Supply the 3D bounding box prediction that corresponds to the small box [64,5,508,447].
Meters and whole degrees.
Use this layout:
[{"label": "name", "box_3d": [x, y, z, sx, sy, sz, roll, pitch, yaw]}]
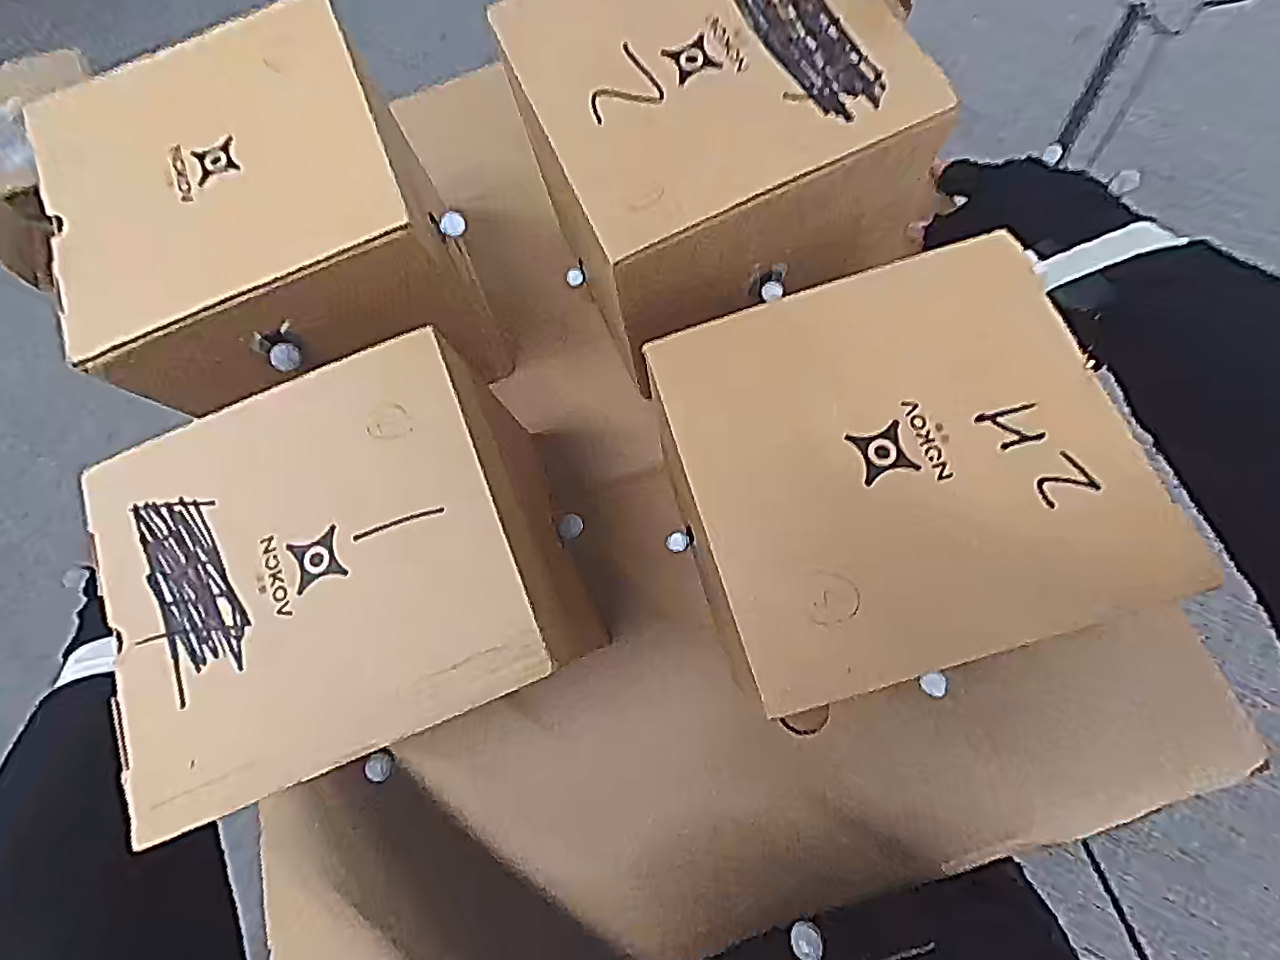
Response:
[{"label": "small box", "box_3d": [-0.205, -0.143, 0.361, 0.179, 0.176, 0.168, -23, 75, 0]}]
